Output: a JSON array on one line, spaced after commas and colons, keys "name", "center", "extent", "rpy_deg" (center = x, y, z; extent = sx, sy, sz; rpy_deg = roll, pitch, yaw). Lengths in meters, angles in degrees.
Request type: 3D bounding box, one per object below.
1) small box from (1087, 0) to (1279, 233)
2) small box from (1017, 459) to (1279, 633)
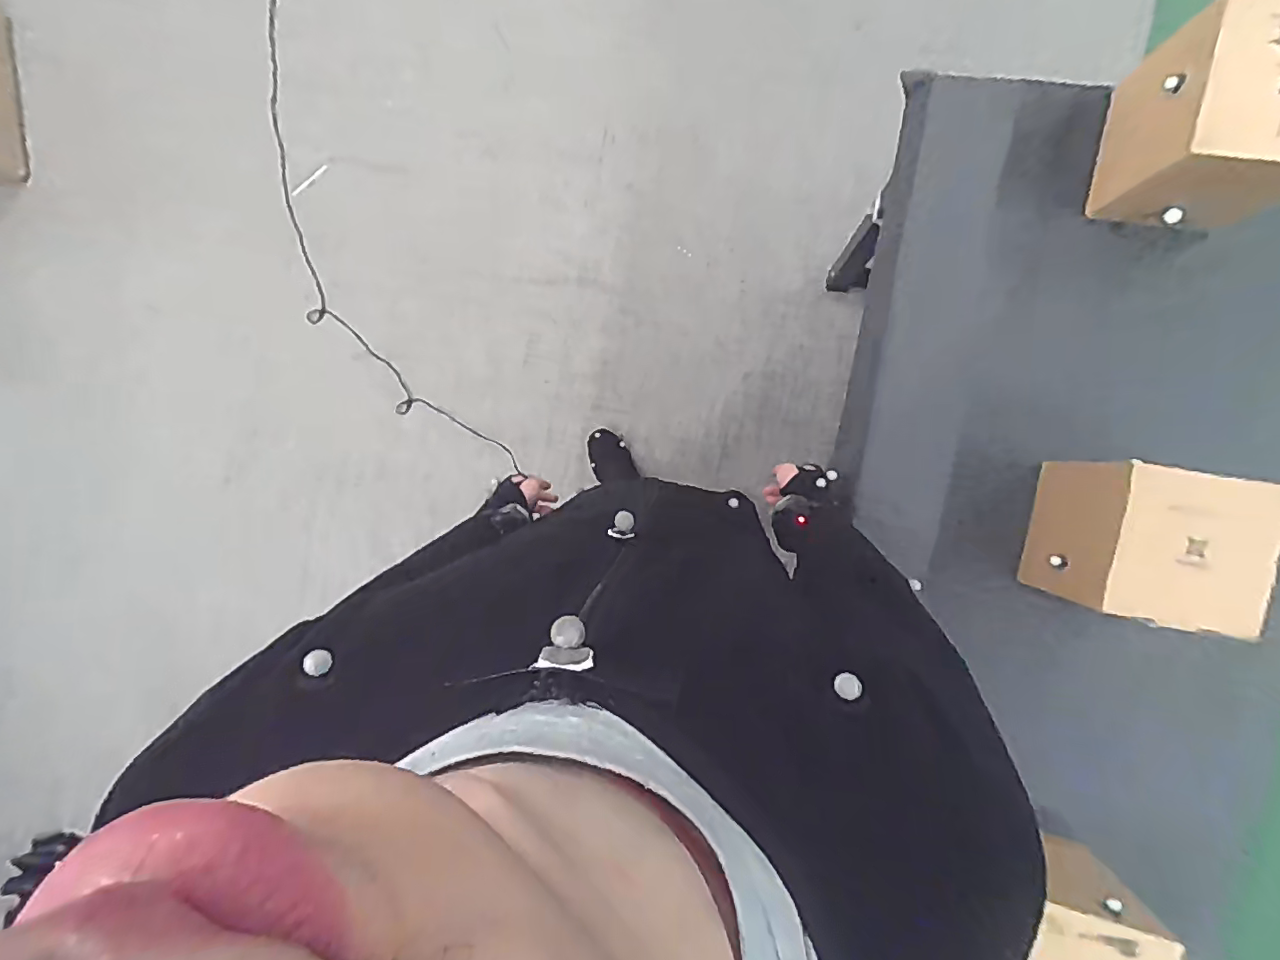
[{"name": "small box", "center": [0.695, -0.428, 0.652], "extent": [0.168, 0.176, 0.179], "rpy_deg": [10, 95, 5]}, {"name": "small box", "center": [0.624, 0.071, 0.691], "extent": [0.168, 0.176, 0.179], "rpy_deg": [10, 93, 4]}]
